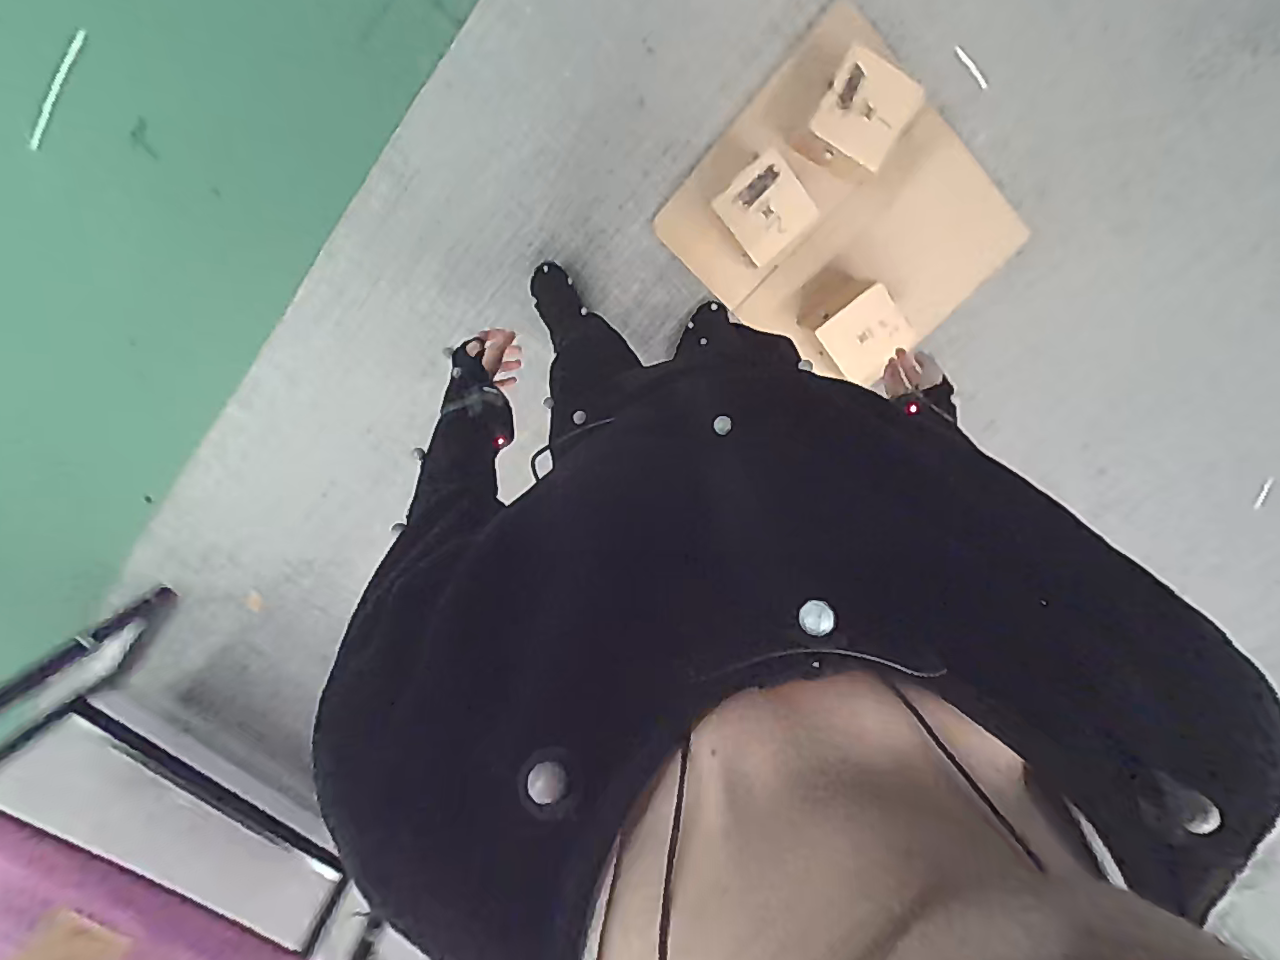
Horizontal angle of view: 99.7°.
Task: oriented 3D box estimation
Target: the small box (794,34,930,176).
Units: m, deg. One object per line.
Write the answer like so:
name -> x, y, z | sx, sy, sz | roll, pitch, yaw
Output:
small box -> 0.452, -0.771, 1.137 | 0.179, 0.176, 0.168 | 28, 110, -10

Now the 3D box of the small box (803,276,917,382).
small box -> 0.510, -0.363, 1.287 | 0.179, 0.176, 0.168 | -37, 106, 14

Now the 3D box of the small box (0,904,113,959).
small box -> -1.285, 1.047, 1.141 | 0.168, 0.176, 0.179 | 41, 109, -13
